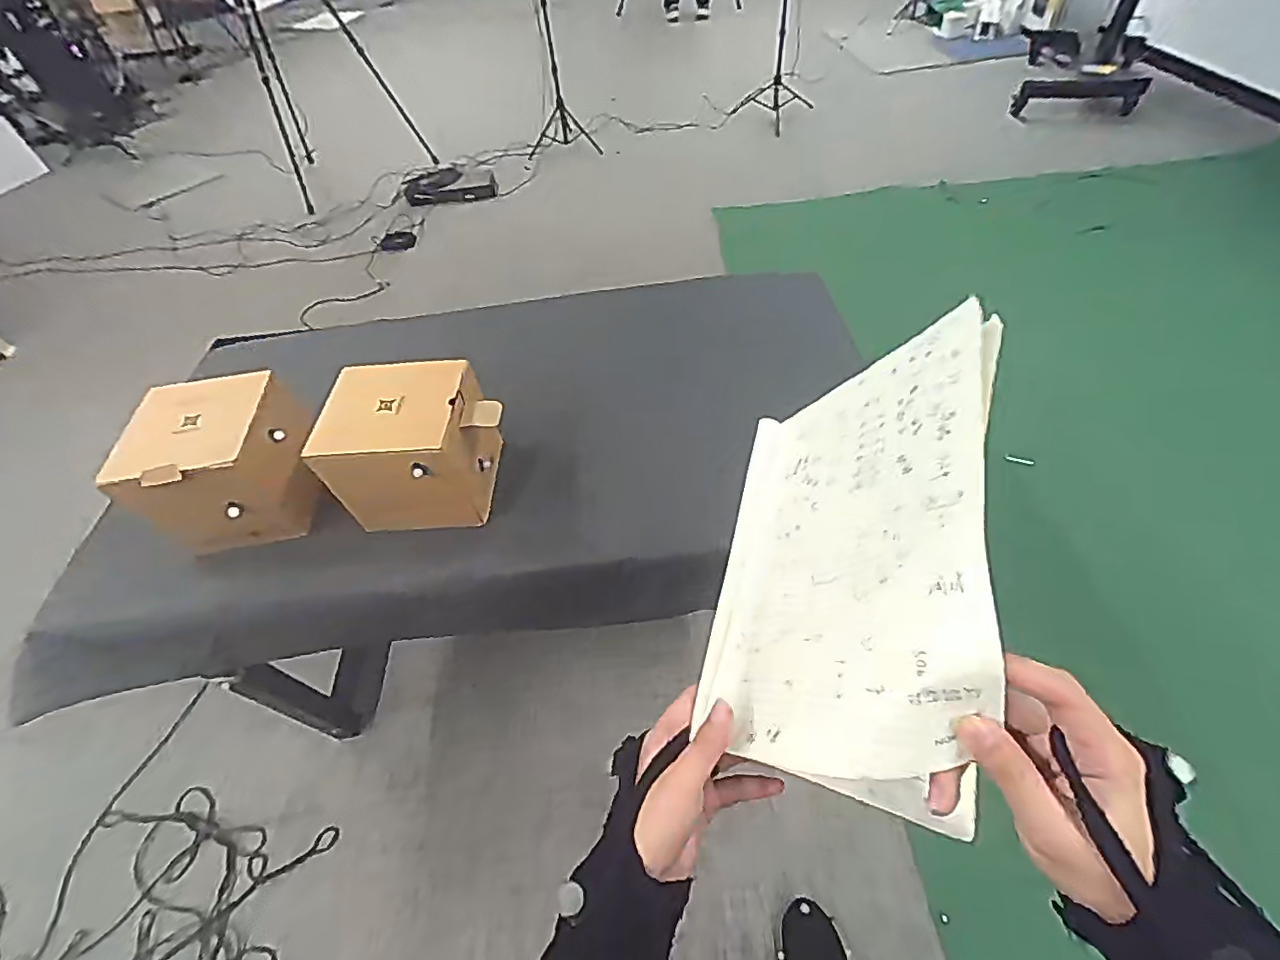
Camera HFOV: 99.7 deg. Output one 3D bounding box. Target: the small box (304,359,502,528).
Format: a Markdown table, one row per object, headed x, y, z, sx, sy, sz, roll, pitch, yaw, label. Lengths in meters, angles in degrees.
| x | y | z | sx | sy | sz | roll | pitch | yaw | label |
| --- | --- | --- | --- | --- | --- | --- | --- | --- | --- |
| -0.310 | -0.045 | 0.749 | 0.179 | 0.176 | 0.168 | -3 | 51 | 3 | small box |

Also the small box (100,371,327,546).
| x | y | z | sx | sy | sz | roll | pitch | yaw | label |
| --- | --- | --- | --- | --- | --- | --- | --- | --- | --- |
| -0.568 | -0.023 | 0.756 | 0.168 | 0.176 | 0.179 | -9 | 50 | -3 | small box |
